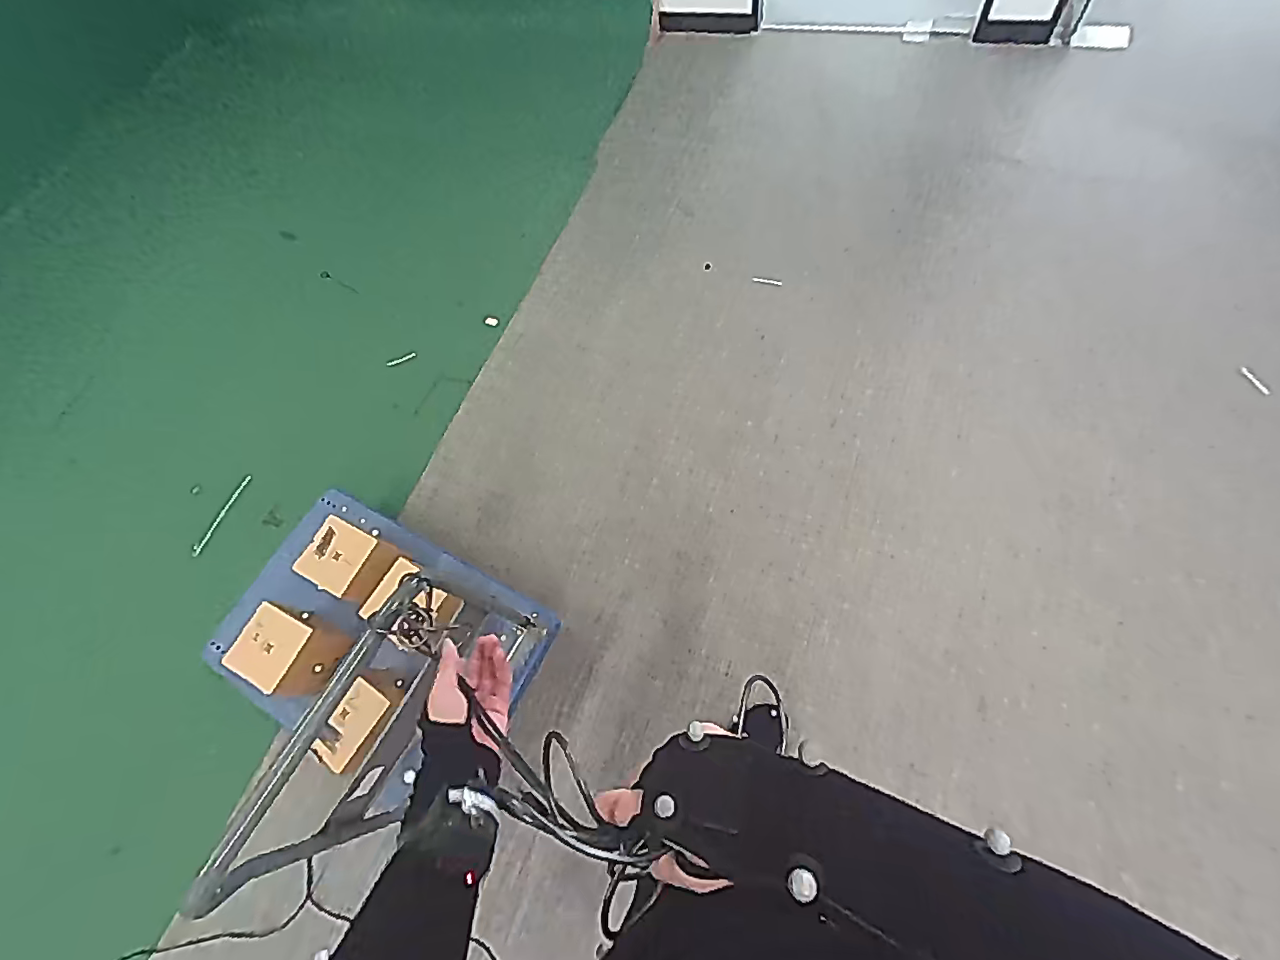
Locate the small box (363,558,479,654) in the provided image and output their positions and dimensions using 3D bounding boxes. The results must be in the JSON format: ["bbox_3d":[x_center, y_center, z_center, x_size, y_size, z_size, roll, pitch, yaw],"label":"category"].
[{"bbox_3d":[-0.548,0.326,1.373,0.179,0.176,0.168,27,74,19],"label":"small box"}]

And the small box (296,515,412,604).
[{"bbox_3d":[-0.759,0.222,1.451,0.179,0.176,0.168,23,74,17],"label":"small box"}]

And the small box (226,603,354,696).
[{"bbox_3d":[-0.882,0.436,1.382,0.179,0.176,0.168,22,72,17],"label":"small box"}]
